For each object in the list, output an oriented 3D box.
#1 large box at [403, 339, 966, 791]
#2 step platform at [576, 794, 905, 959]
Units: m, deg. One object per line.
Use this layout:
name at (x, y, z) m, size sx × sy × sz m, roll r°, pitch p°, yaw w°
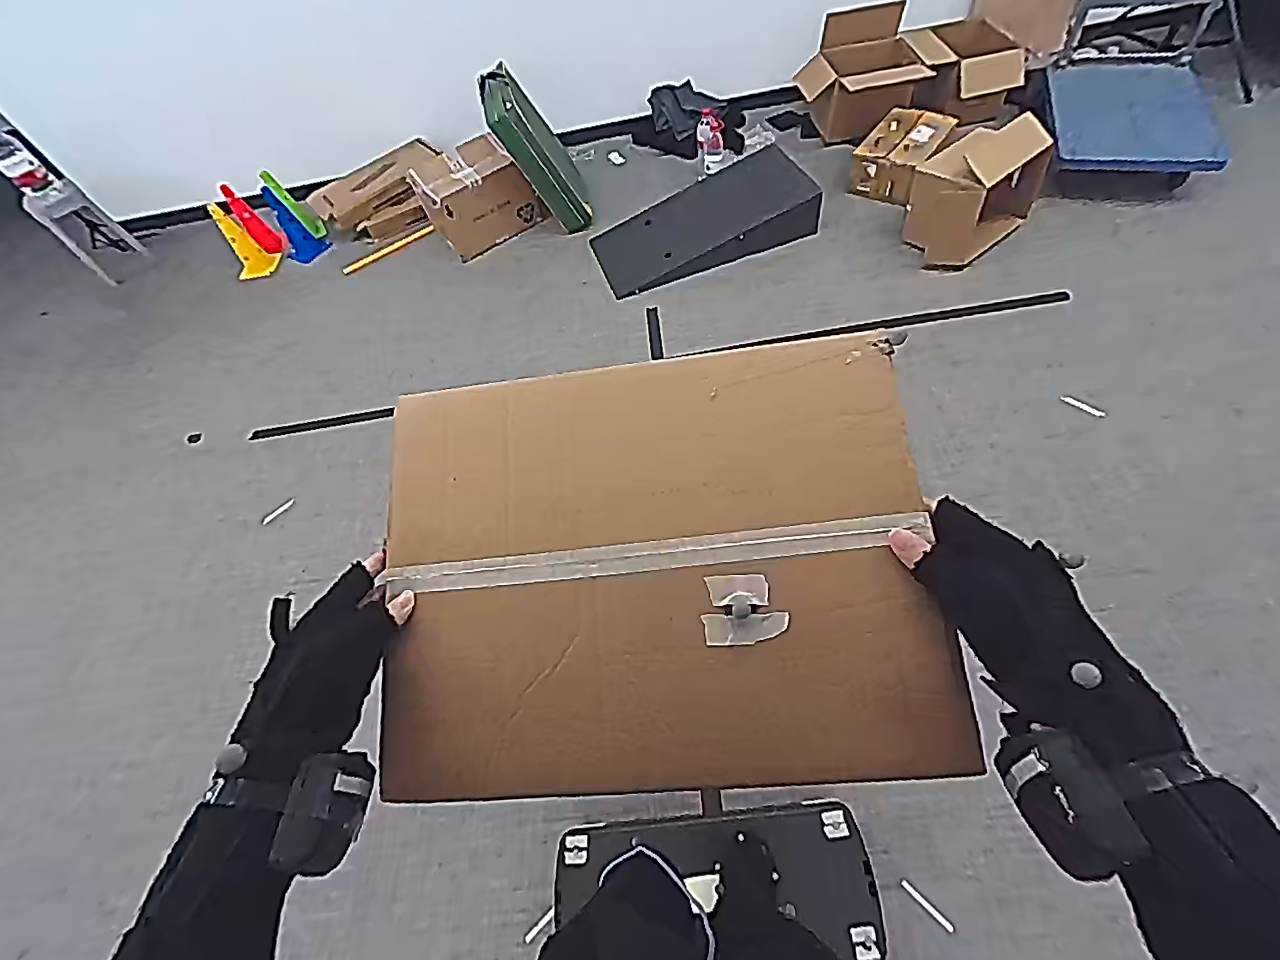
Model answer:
large box at (0.027, 0.096, 0.558) m, size 0.408 × 0.320 × 0.320 m, roll -7°, pitch 75°, yaw 6°
step platform at (0.201, 0.892, 1.195) m, size 0.684 × 0.204 × 0.286 m, roll -9°, pitch 57°, yaw 3°
